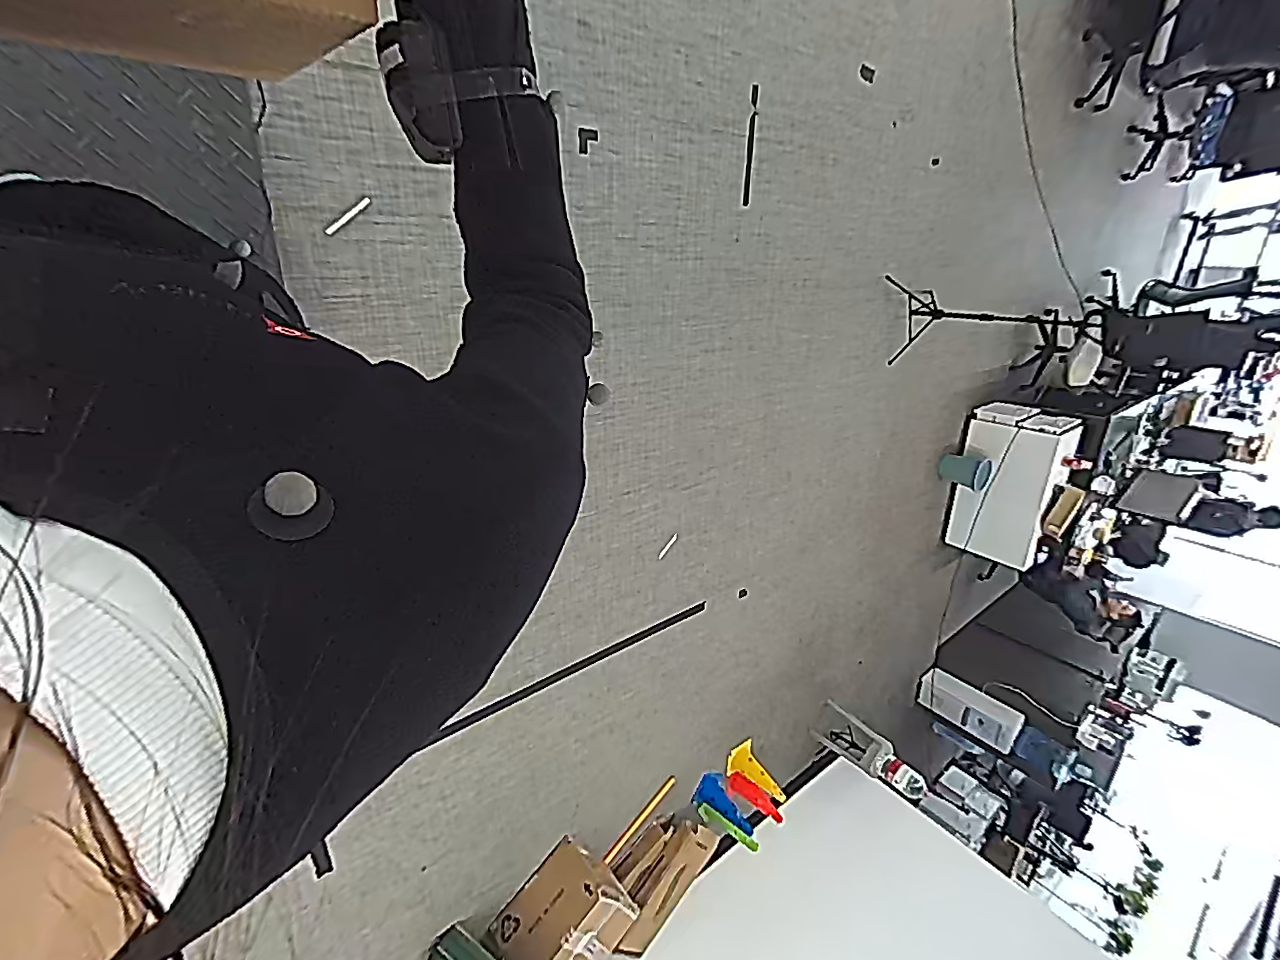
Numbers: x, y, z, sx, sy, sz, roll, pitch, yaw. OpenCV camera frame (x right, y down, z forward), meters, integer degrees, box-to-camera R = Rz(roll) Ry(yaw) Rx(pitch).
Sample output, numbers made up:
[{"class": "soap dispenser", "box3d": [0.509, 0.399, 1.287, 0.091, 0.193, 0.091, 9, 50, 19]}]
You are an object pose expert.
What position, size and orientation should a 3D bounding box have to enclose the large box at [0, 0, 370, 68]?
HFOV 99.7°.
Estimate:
[{"class": "large box", "box3d": [-0.387, -0.402, 0.216, 0.408, 0.320, 0.320, -18, 126, -36]}]
